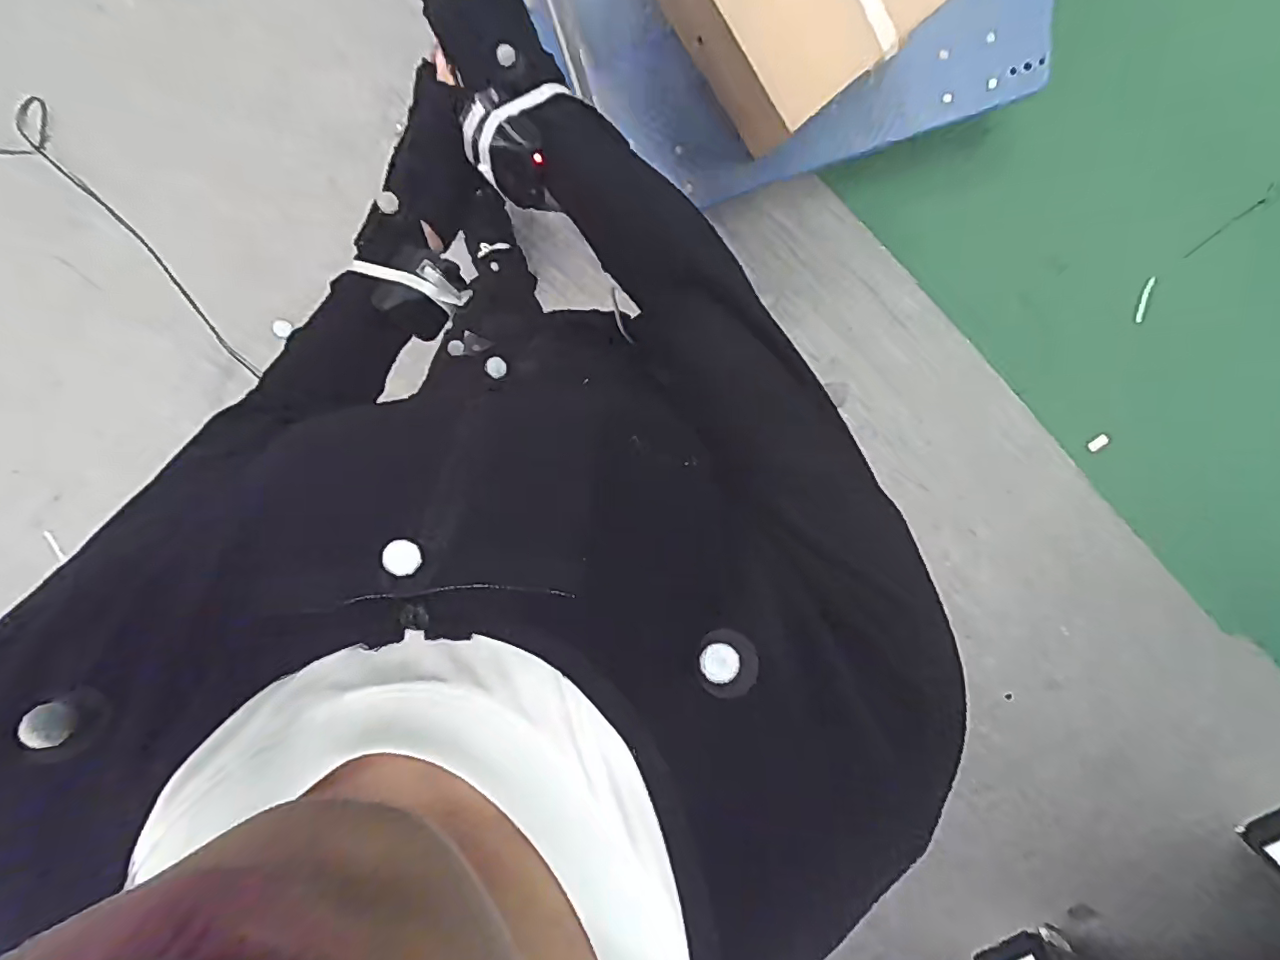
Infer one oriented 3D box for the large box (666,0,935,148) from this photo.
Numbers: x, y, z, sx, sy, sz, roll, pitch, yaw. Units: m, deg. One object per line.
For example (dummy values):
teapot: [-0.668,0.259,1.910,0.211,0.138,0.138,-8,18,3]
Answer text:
large box: [0.213,-0.798,0.806,0.320,0.320,0.408,-34,109,16]
